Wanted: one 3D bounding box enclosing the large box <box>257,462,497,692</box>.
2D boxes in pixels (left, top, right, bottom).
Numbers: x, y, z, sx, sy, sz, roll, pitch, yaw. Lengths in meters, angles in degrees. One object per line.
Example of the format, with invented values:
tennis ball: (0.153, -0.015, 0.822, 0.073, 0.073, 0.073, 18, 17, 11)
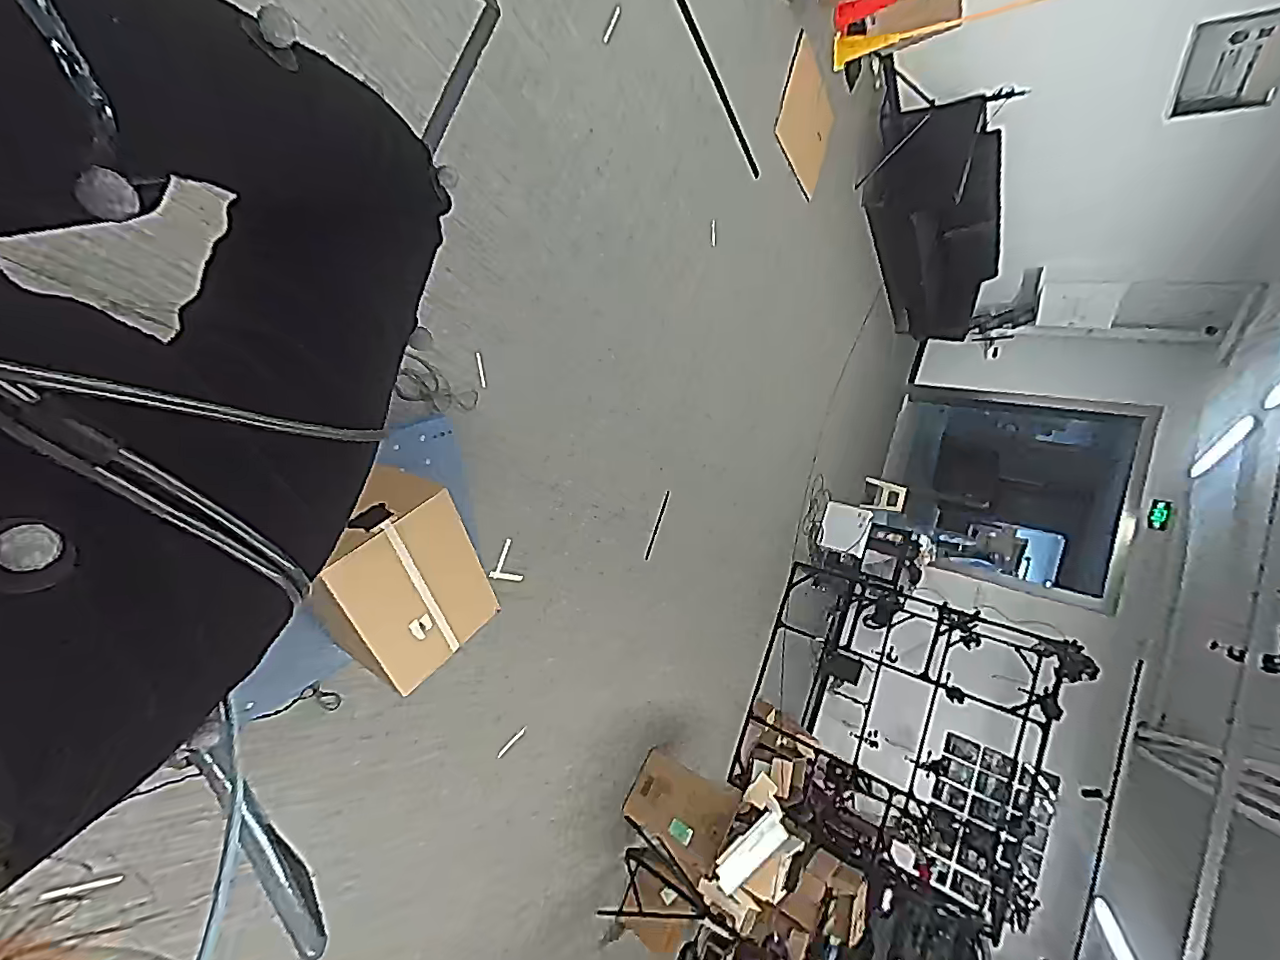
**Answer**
large box: (-0.621, 0.222, 1.320, 0.320, 0.320, 0.408, -42, 134, -38)
